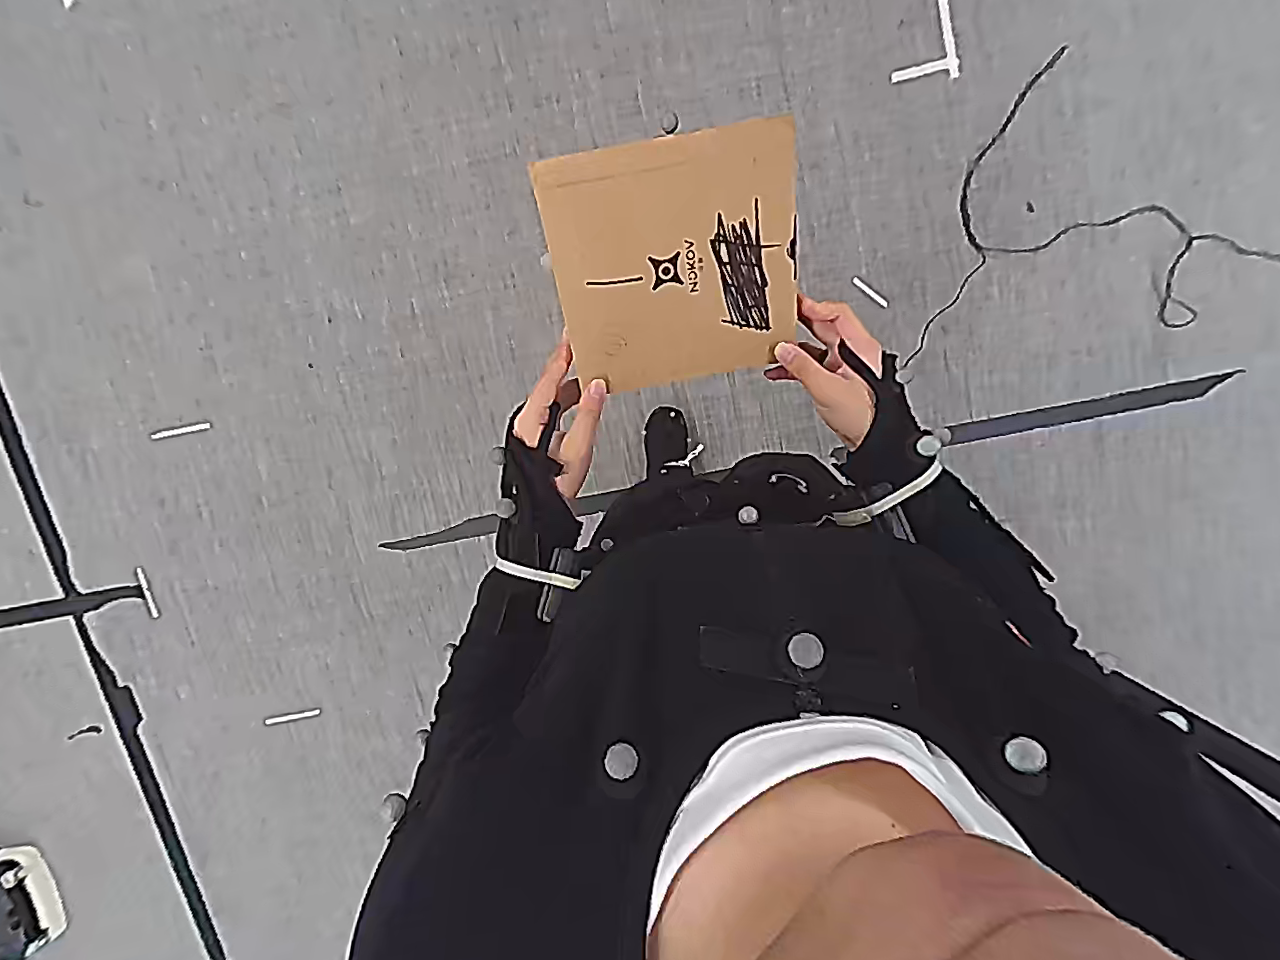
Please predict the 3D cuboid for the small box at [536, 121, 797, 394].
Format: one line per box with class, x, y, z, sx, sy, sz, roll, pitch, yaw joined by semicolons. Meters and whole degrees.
small box;0.020;-0.193;0.460;0.179;0.176;0.168;-11;120;1
